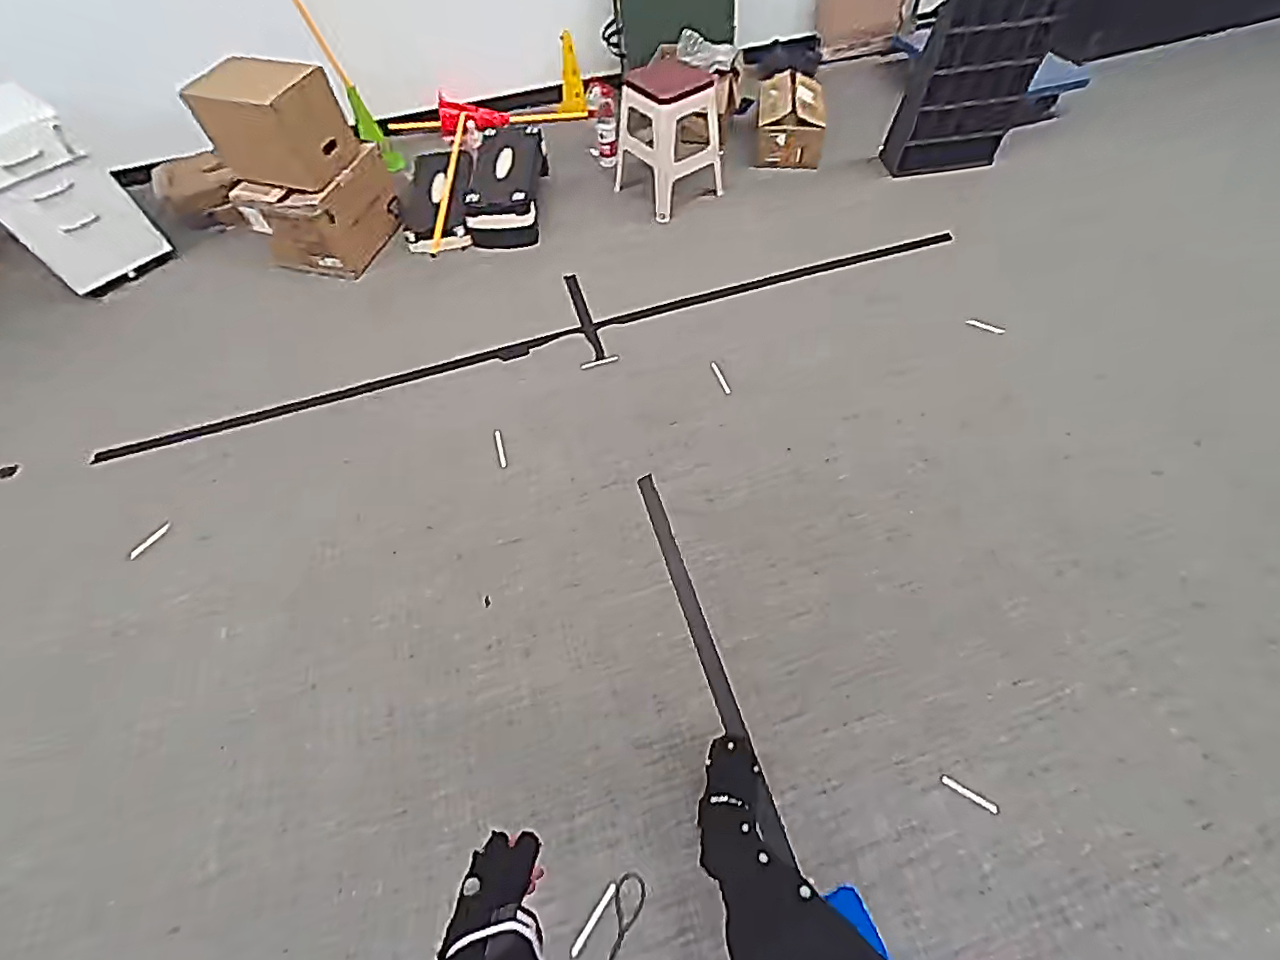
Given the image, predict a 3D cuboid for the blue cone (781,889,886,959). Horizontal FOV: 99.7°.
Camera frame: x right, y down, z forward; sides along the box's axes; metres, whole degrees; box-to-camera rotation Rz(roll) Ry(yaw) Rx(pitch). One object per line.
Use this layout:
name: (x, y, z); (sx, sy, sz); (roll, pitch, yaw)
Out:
blue cone: (0.386, 0.853, 0.921); (0.192, 0.380, 0.193); (-19, 58, -10)
